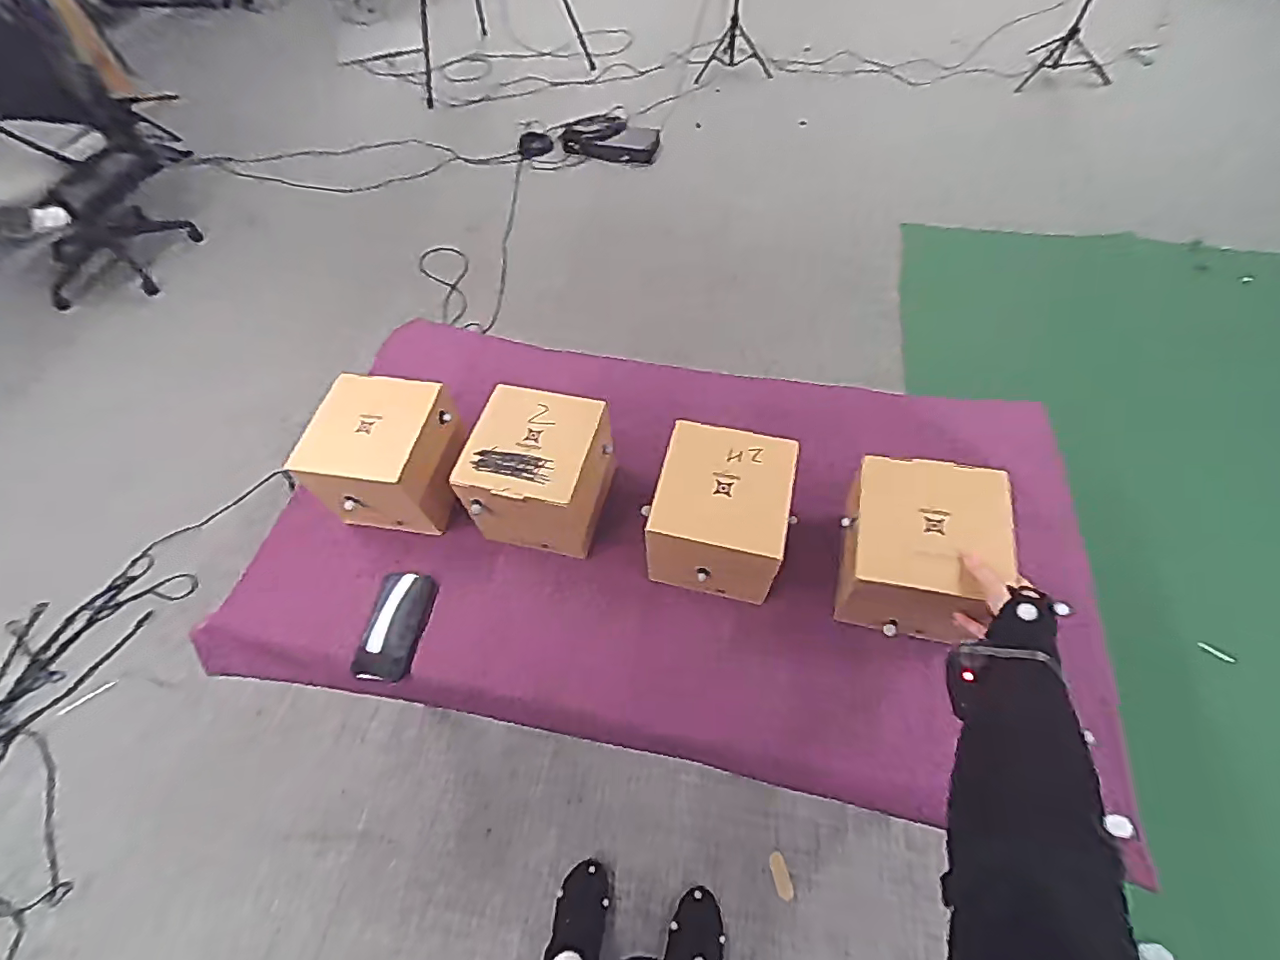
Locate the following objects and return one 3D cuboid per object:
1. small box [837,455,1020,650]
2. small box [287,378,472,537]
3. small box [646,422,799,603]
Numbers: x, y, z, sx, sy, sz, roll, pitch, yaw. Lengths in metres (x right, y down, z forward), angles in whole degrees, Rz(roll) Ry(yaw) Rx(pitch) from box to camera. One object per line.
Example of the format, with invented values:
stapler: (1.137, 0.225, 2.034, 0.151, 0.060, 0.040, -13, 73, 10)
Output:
small box: (0.356, 0.095, 0.695, 0.168, 0.176, 0.179, 9, 59, 16)
small box: (-0.376, -0.030, 0.824, 0.168, 0.176, 0.179, 6, 58, 7)
small box: (0.112, 0.050, 0.744, 0.168, 0.176, 0.179, 11, 59, 10)
